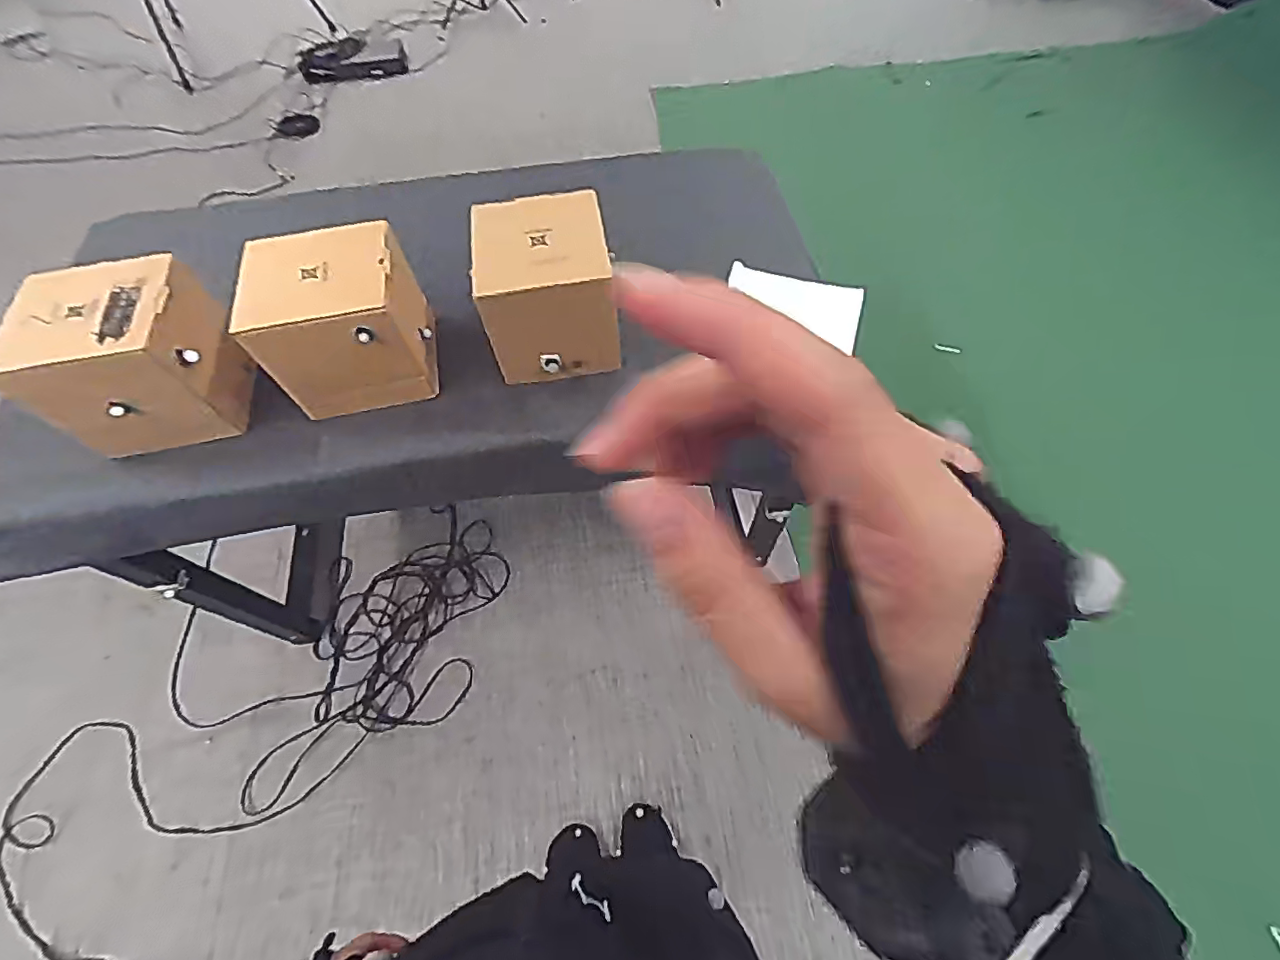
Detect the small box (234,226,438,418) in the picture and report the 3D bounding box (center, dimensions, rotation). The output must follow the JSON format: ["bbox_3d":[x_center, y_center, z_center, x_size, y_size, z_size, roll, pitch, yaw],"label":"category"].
[{"bbox_3d":[-0.388,-0.203,0.721,0.179,0.176,0.168,-12,60,-6],"label":"small box"}]

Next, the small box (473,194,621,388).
[{"bbox_3d":[-0.122,-0.254,0.742,0.168,0.176,0.179,-11,61,-3],"label":"small box"}]
